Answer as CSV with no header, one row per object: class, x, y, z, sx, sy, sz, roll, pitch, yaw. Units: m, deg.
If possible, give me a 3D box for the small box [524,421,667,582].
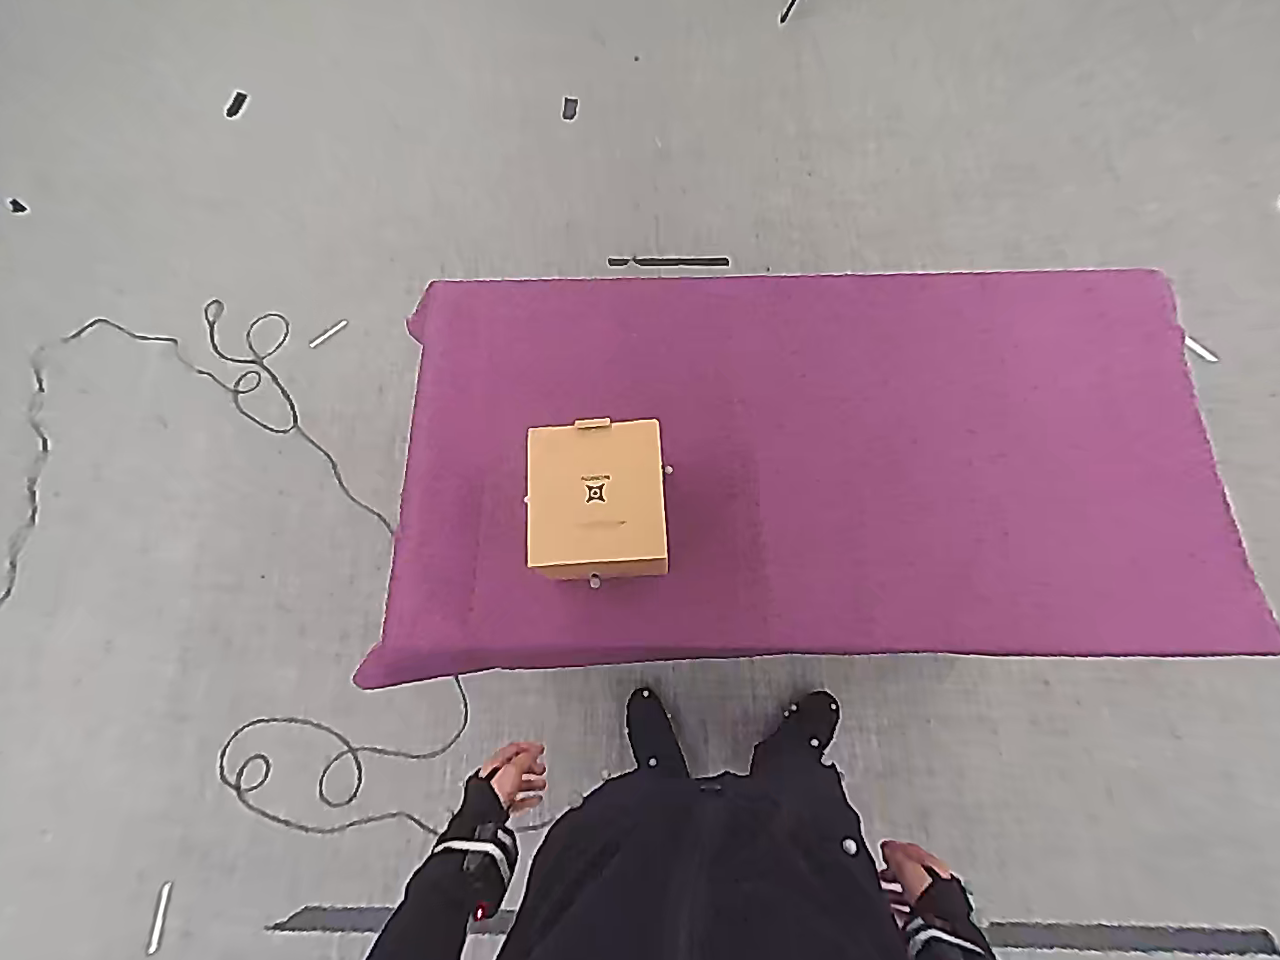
small box,-0.051,0.036,0.719,0.168,0.176,0.179,-3,73,2
